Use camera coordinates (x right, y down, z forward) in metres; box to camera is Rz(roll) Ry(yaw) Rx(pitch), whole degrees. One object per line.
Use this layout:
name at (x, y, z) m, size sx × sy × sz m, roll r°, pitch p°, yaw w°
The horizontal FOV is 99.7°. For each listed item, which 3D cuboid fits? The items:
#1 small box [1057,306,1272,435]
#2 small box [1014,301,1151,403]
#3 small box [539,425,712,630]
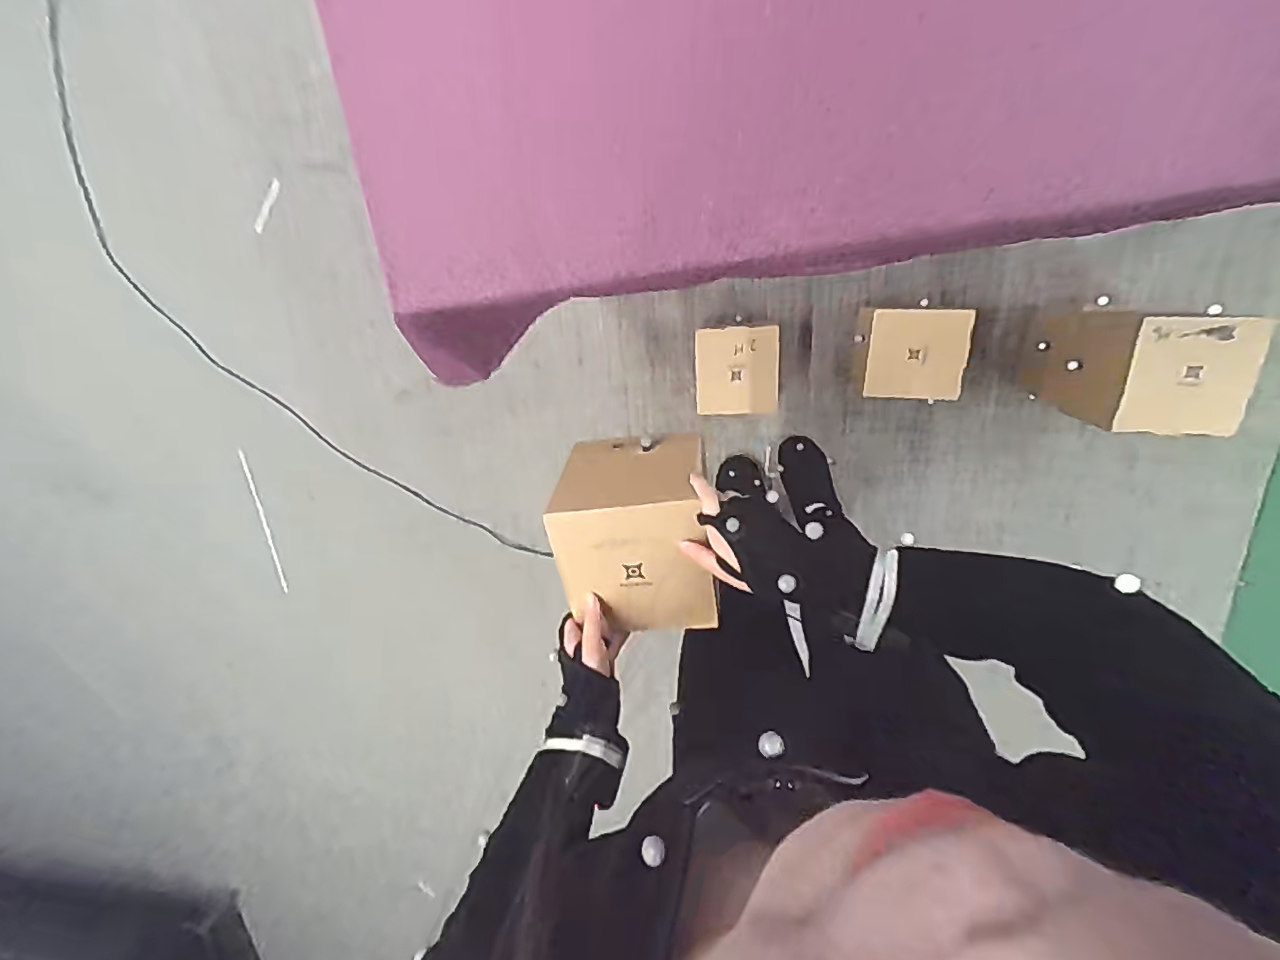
small box at (0.818, -0.182, 0.871) m, size 0.168 × 0.176 × 0.179 m, roll 4°, pitch 111°, yaw 9°
small box at (0.848, -0.240, 1.023) m, size 0.168 × 0.176 × 0.179 m, roll 8°, pitch 109°, yaw 9°
small box at (-0.002, 0.054, 0.642) m, size 0.168 × 0.176 × 0.179 m, roll -5°, pitch 120°, yaw 9°
